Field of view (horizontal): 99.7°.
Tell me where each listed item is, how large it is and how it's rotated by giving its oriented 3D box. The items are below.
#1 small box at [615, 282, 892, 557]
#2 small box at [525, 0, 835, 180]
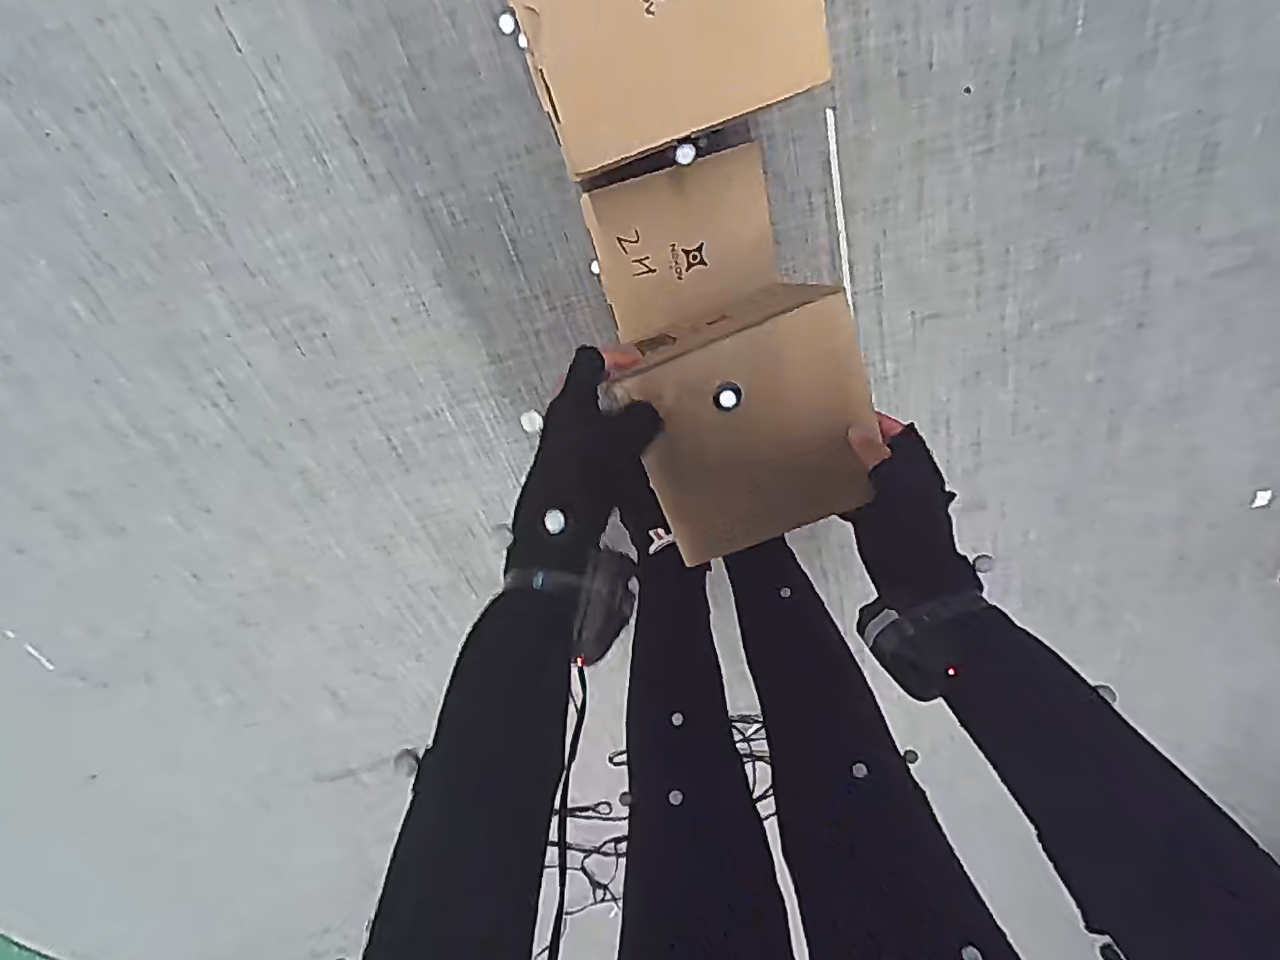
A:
[{"bbox_3d":[0.091,-0.057,0.478,0.179,0.168,0.176,-21,111,7],"label":"small box"},{"bbox_3d":[0.016,-0.332,0.384,0.179,0.176,0.168,-16,119,7],"label":"small box"}]
